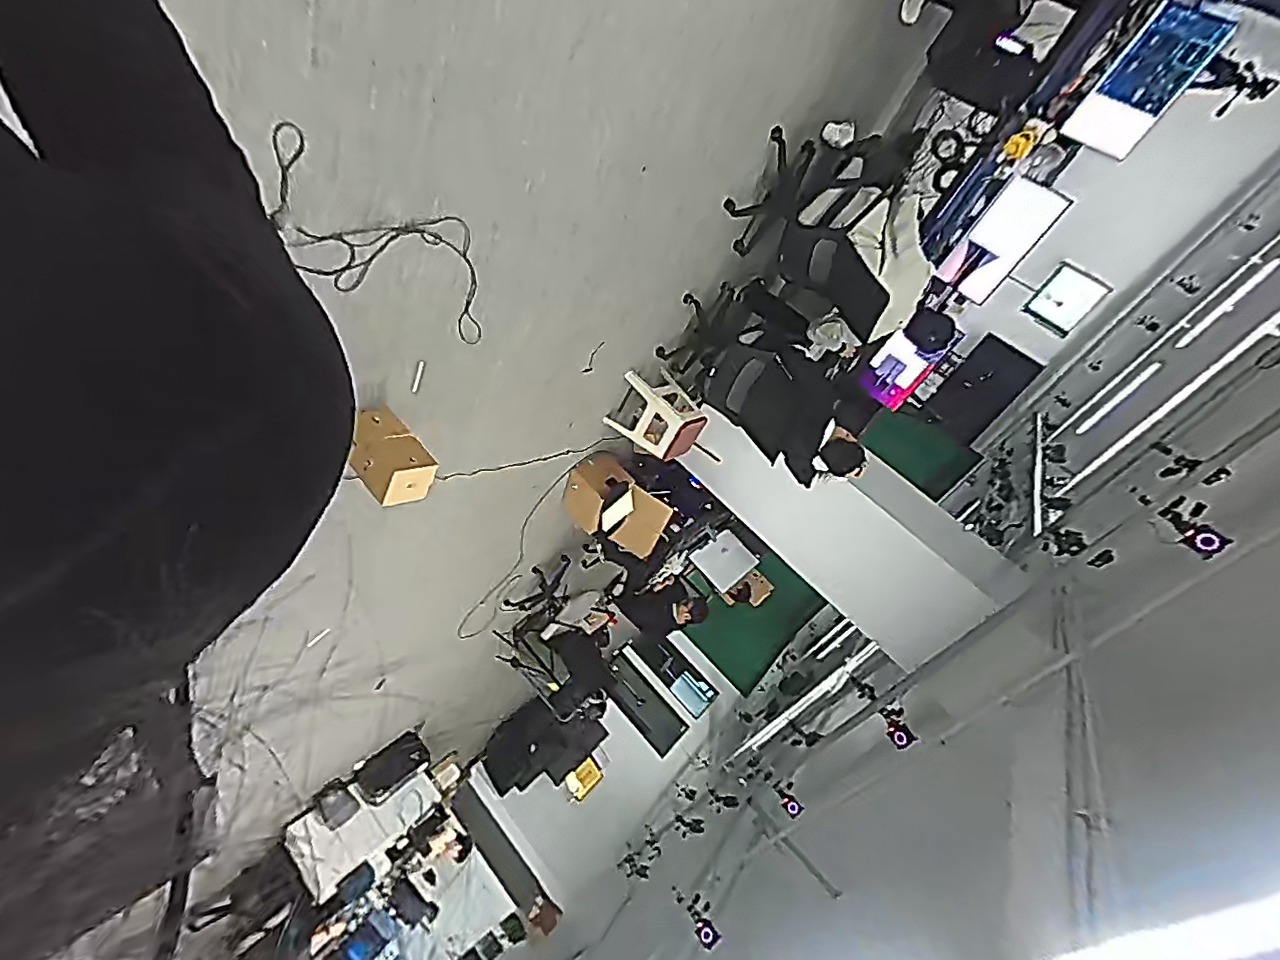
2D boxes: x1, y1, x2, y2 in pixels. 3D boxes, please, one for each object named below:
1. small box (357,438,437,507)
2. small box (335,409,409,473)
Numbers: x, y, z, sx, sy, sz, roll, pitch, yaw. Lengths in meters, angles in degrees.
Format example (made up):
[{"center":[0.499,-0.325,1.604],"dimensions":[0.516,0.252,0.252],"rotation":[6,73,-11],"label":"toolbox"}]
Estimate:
[{"center":[-0.859,-0.033,1.906],"dimensions":[0.179,0.176,0.168],"rotation":[-16,144,-55],"label":"small box"},{"center":[-0.972,-0.142,1.953],"dimensions":[0.168,0.176,0.179],"rotation":[-22,149,-52],"label":"small box"}]
